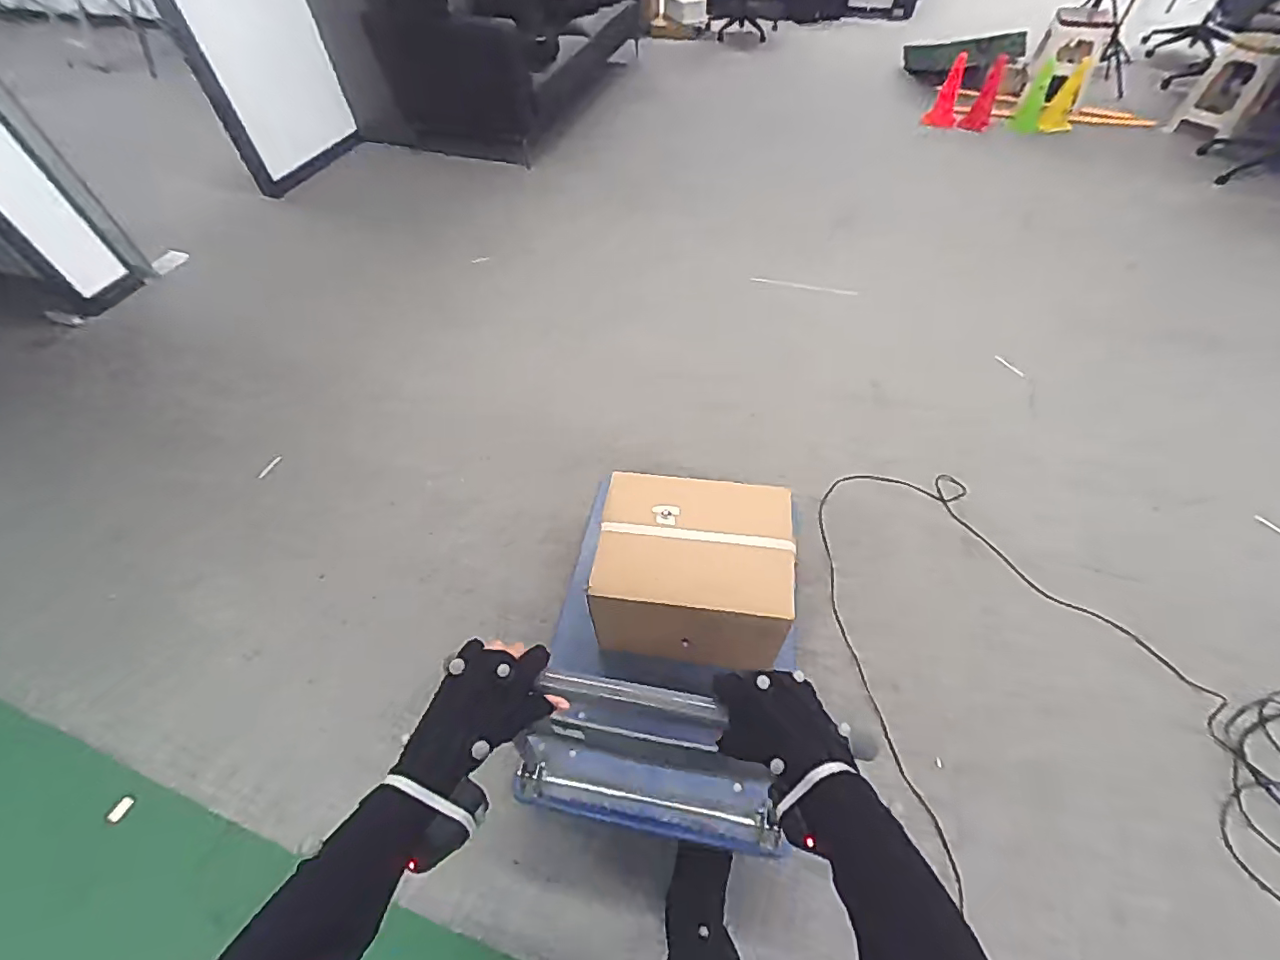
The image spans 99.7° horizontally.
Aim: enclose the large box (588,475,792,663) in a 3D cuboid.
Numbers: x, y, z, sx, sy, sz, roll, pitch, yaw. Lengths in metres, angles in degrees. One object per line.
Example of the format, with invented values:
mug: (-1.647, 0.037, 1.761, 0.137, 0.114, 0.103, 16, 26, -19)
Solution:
large box: (0.117, 0.212, 1.254, 0.408, 0.320, 0.320, 5, 53, 6)
